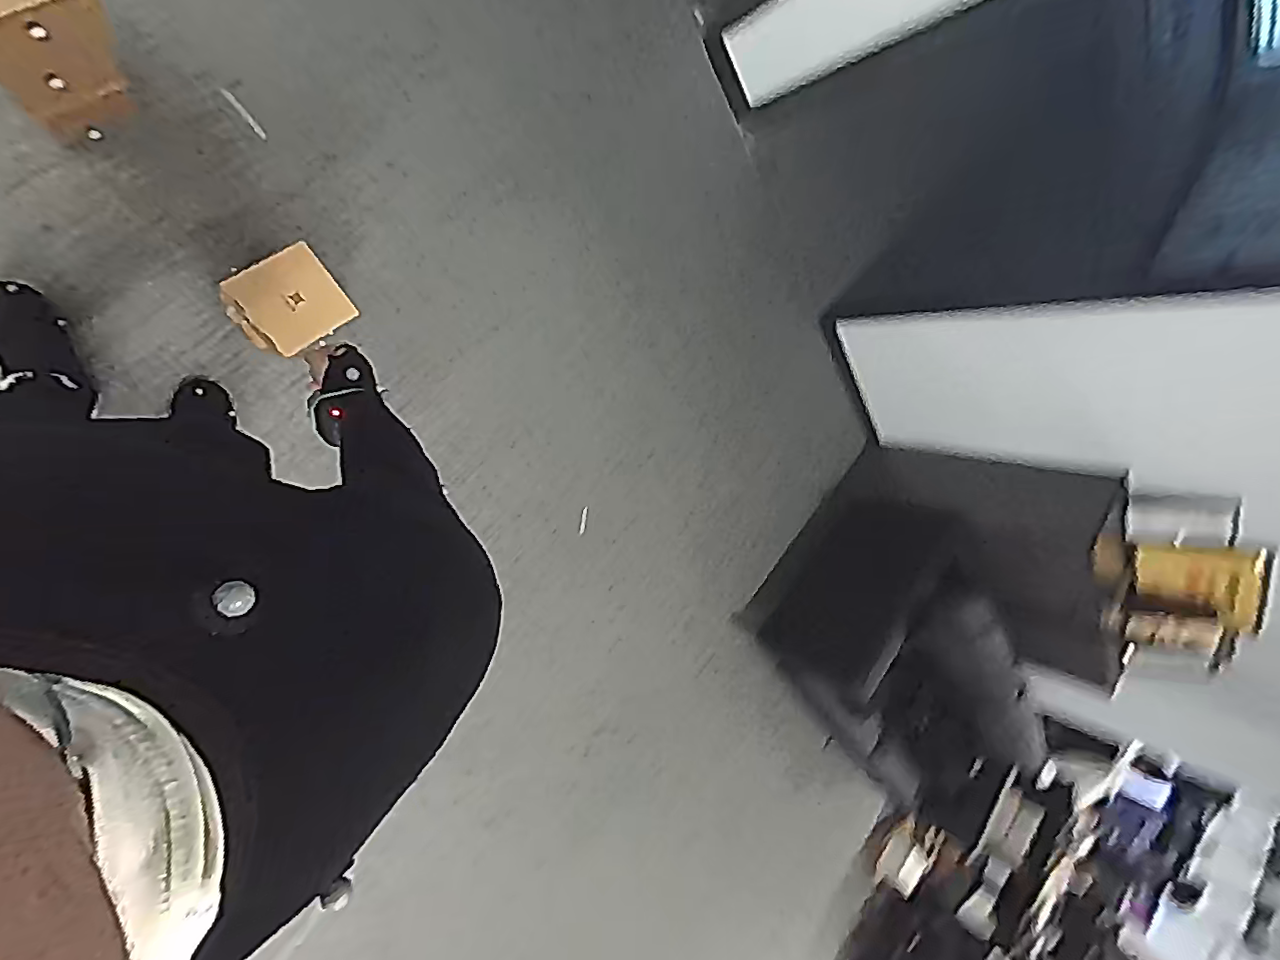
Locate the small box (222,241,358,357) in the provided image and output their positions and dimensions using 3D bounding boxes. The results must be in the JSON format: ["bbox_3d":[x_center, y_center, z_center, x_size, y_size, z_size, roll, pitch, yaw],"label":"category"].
[{"bbox_3d":[-0.740,-0.379,1.141,0.179,0.176,0.168,-43,123,-21],"label":"small box"}]

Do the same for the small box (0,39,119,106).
[{"bbox_3d":[-0.998,-0.740,0.862,0.179,0.176,0.168,-43,123,-19],"label":"small box"}]

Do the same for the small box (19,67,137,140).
[{"bbox_3d":[-1.089,-0.769,0.995,0.168,0.176,0.179,-43,123,-20],"label":"small box"}]

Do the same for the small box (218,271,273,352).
[{"bbox_3d":[-0.840,-0.412,1.262,0.179,0.176,0.168,-37,118,-23],"label":"small box"}]

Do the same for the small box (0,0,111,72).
[{"bbox_3d":[-0.891,-0.708,0.741,0.179,0.176,0.168,-45,123,-20],"label":"small box"}]
